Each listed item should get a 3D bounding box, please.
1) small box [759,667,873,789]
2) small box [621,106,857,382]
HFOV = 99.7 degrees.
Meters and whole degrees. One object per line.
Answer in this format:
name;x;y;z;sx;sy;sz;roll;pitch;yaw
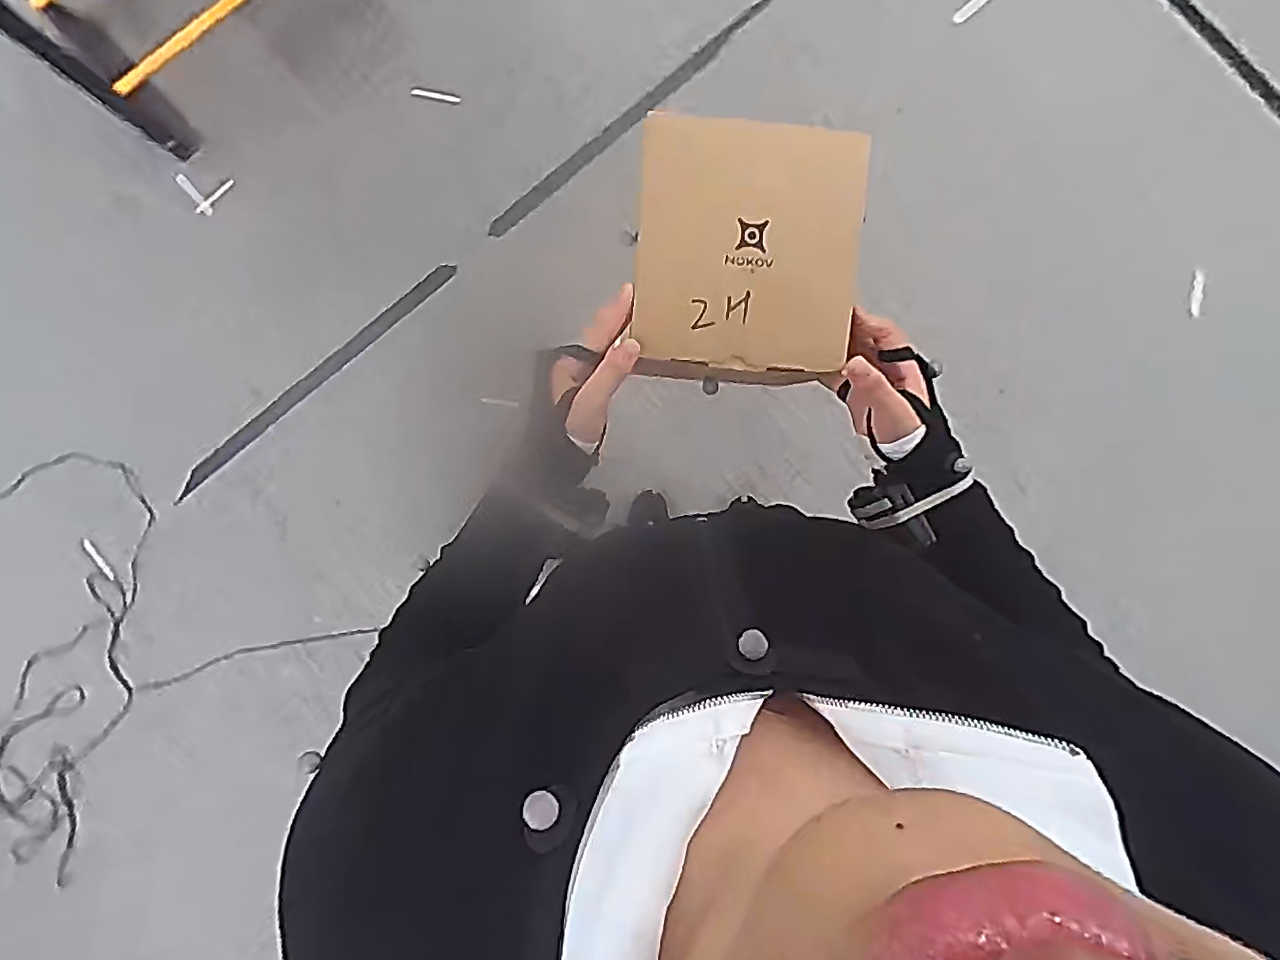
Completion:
small box;0.412;0.583;1.295;0.168;0.176;0.179;-37;87;0
small box;0.071;-0.187;0.482;0.168;0.176;0.179;4;96;-2
